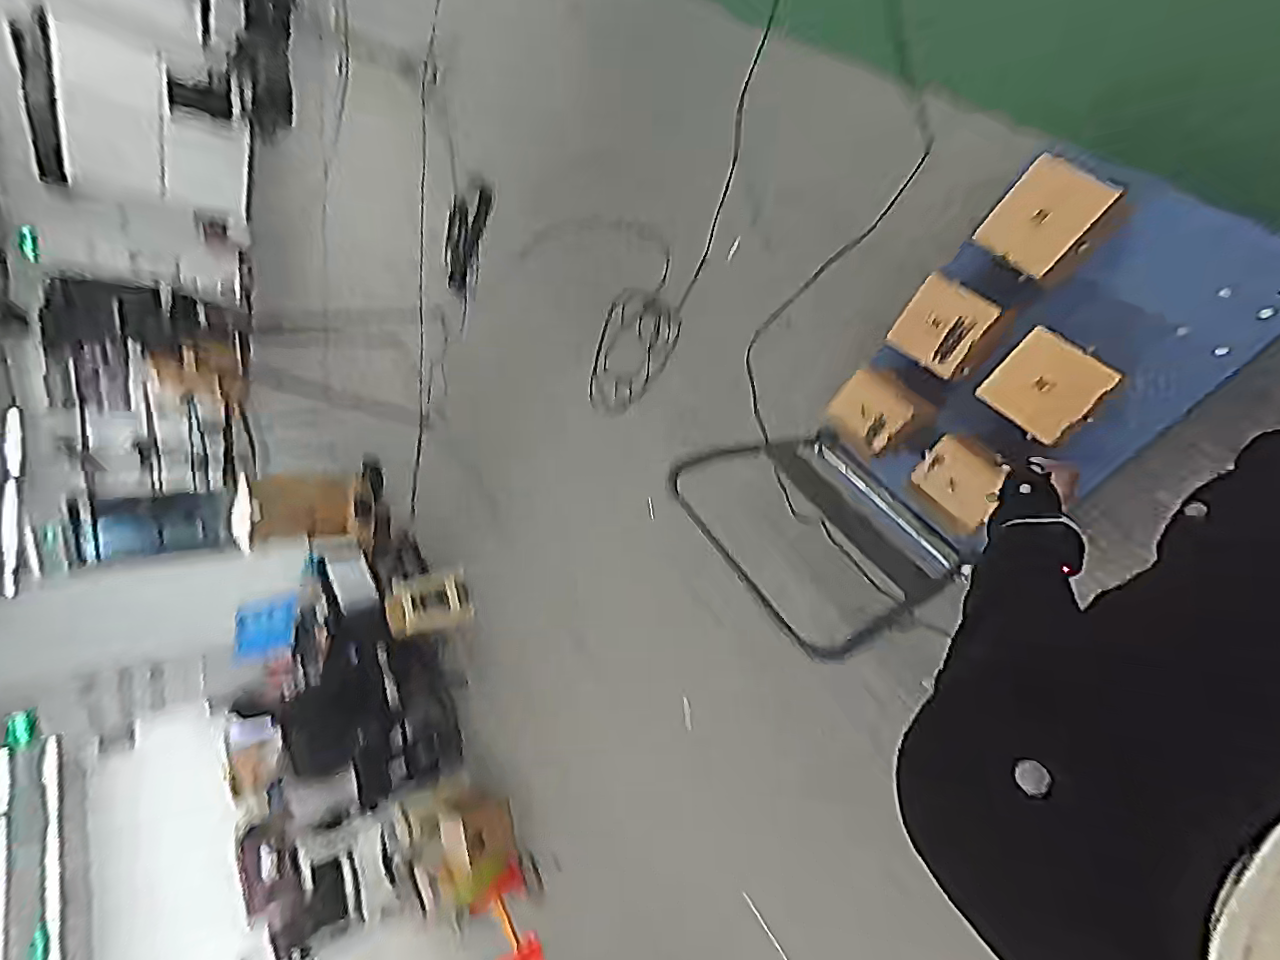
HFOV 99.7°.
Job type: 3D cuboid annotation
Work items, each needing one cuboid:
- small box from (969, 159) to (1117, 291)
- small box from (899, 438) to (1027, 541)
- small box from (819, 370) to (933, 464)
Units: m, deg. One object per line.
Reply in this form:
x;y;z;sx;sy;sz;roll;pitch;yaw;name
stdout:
0.833;-0.514;1.115;0.168;0.176;0.179;53;128;27;small box
0.752;0.013;1.254;0.179;0.176;0.168;48;126;31;small box
0.607;-0.163;1.385;0.179;0.176;0.168;53;128;29;small box
